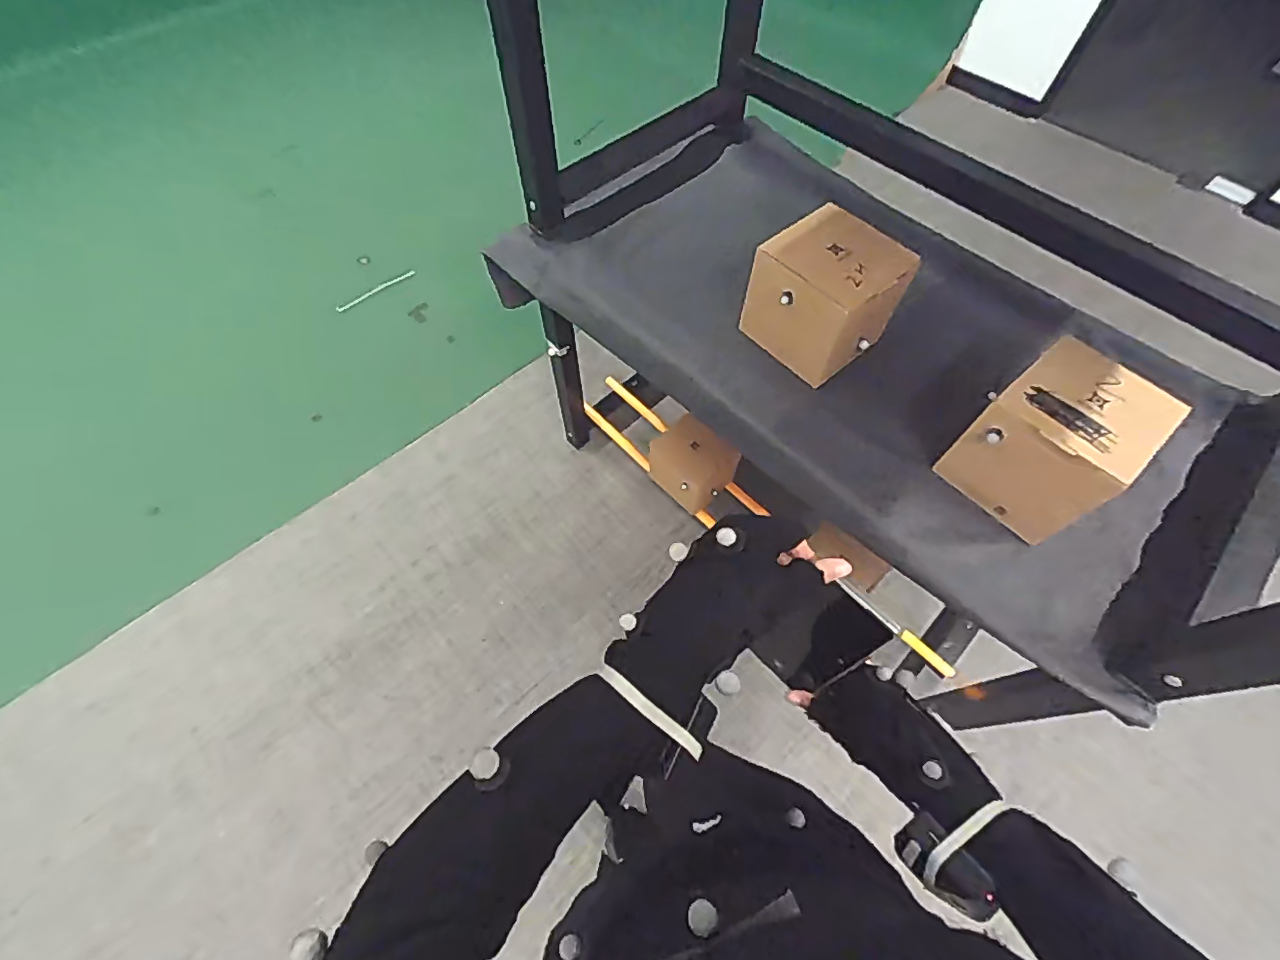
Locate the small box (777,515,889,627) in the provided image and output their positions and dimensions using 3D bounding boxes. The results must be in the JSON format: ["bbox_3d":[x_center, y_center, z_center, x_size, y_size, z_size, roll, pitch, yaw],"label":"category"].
[{"bbox_3d":[0.447,0.223,1.287,0.179,0.176,0.168,-37,68,-18],"label":"small box"}]

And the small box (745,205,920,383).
[{"bbox_3d":[0.289,-0.289,0.856,0.168,0.176,0.179,-37,67,-18],"label":"small box"}]
